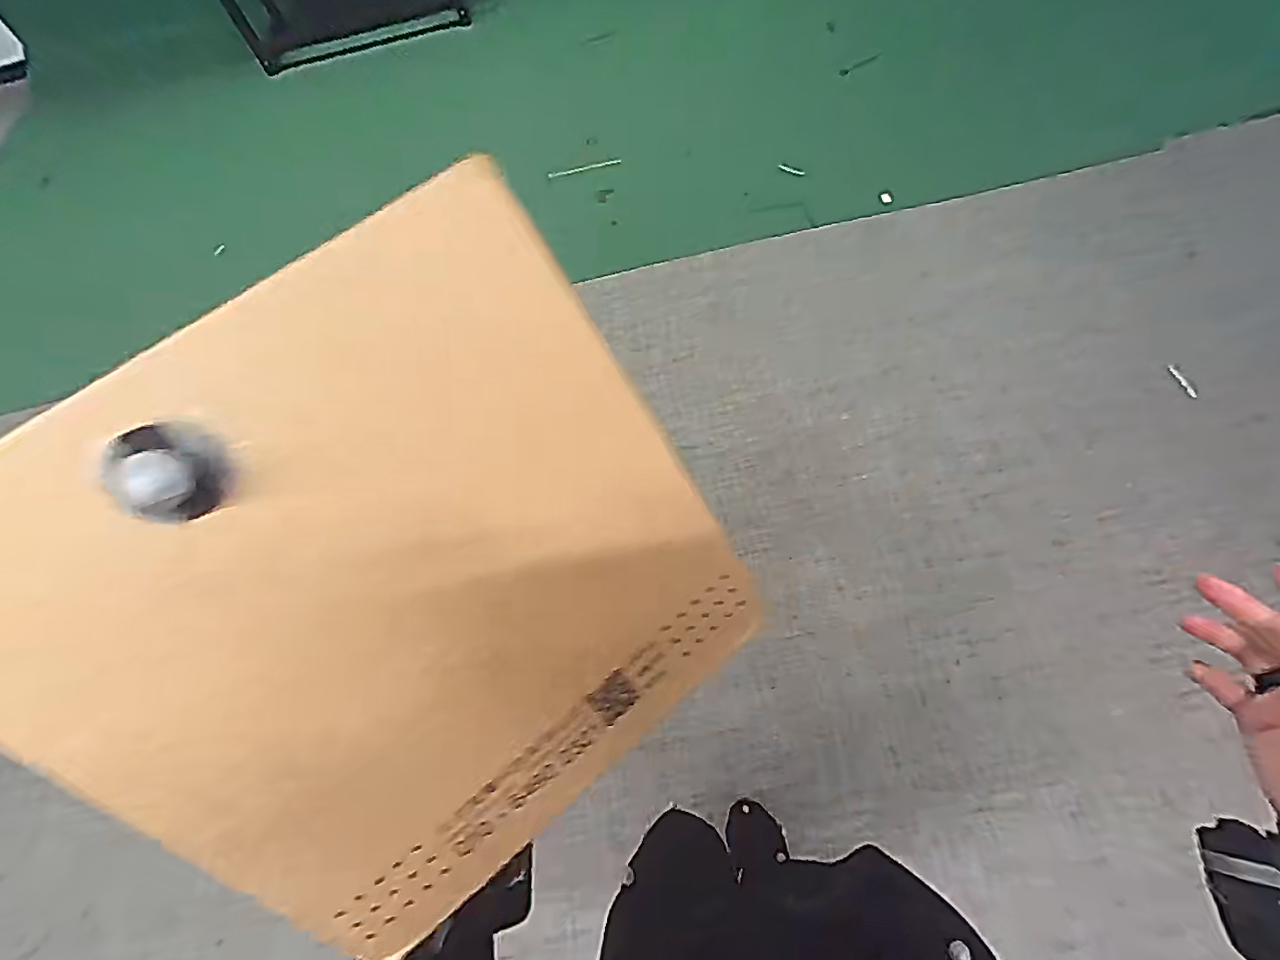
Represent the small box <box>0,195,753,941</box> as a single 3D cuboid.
[{"bbox_3d":[-0.089,0.025,0.227,0.168,0.176,0.179,-40,23,-11],"label":"small box"}]
